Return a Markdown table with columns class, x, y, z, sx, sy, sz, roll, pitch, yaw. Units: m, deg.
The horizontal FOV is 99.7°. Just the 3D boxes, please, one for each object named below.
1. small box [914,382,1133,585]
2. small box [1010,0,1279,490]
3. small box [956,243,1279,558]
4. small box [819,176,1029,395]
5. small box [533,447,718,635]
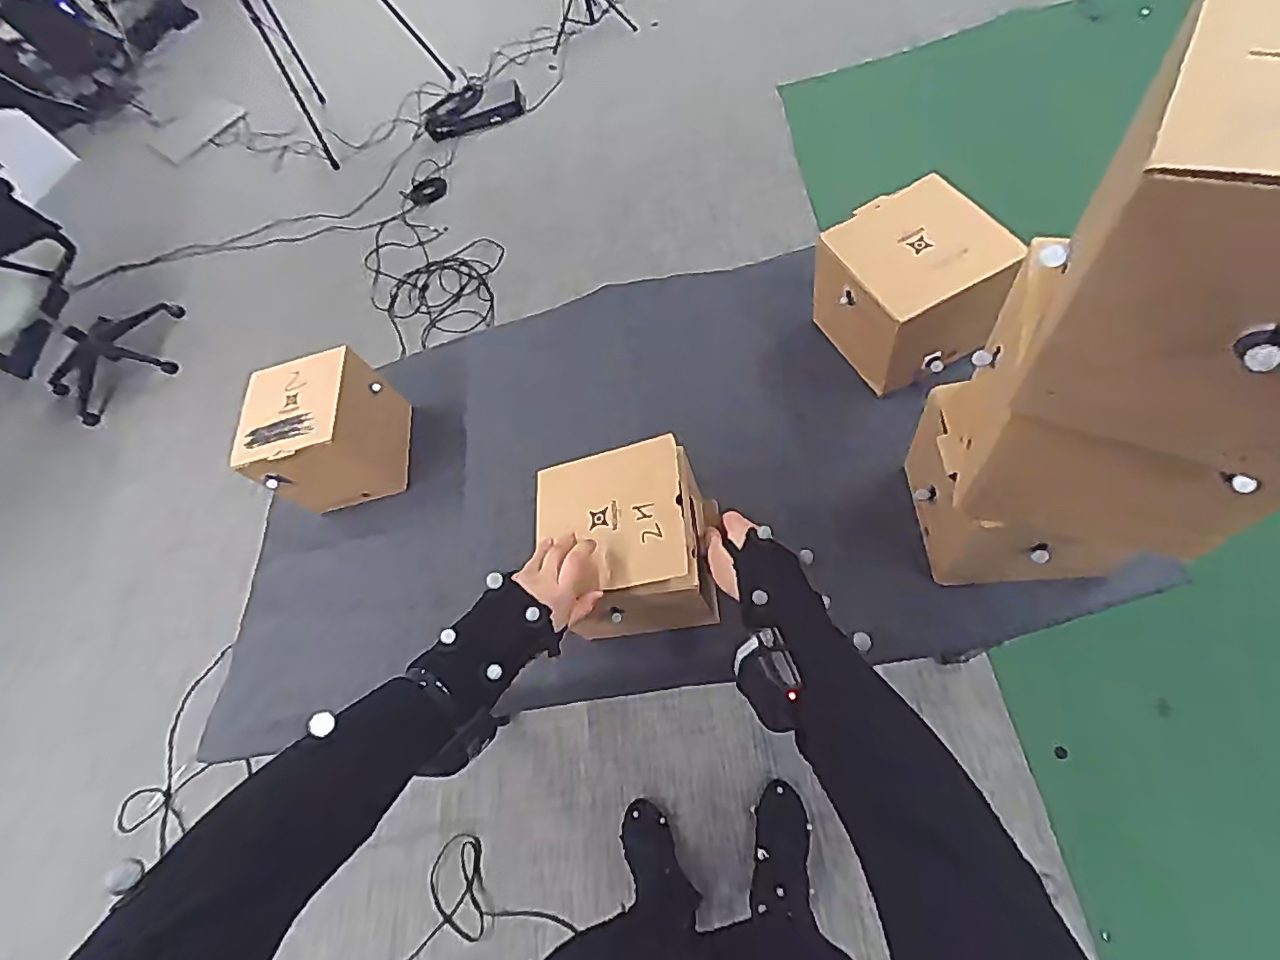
| class | x | y | z | sx | sy | sz | roll | pitch | yaw |
| --- | --- | --- | --- | --- | --- | --- | --- | --- | --- |
| small box | 0.405 | 0.006 | 0.570 | 0.179 | 0.176 | 0.168 | -6 | 60 | 13 |
| small box | 0.331 | -0.112 | 0.271 | 0.179 | 0.176 | 0.168 | 24 | 70 | 26 |
| small box | 0.370 | -0.056 | 0.423 | 0.179 | 0.176 | 0.168 | 14 | 66 | 21 |
| small box | 0.350 | -0.246 | 0.711 | 0.168 | 0.176 | 0.179 | -27 | 62 | 4 |
| small box | -0.011 | 0.083 | 0.648 | 0.179 | 0.176 | 0.168 | -10 | 62 | 11 |
